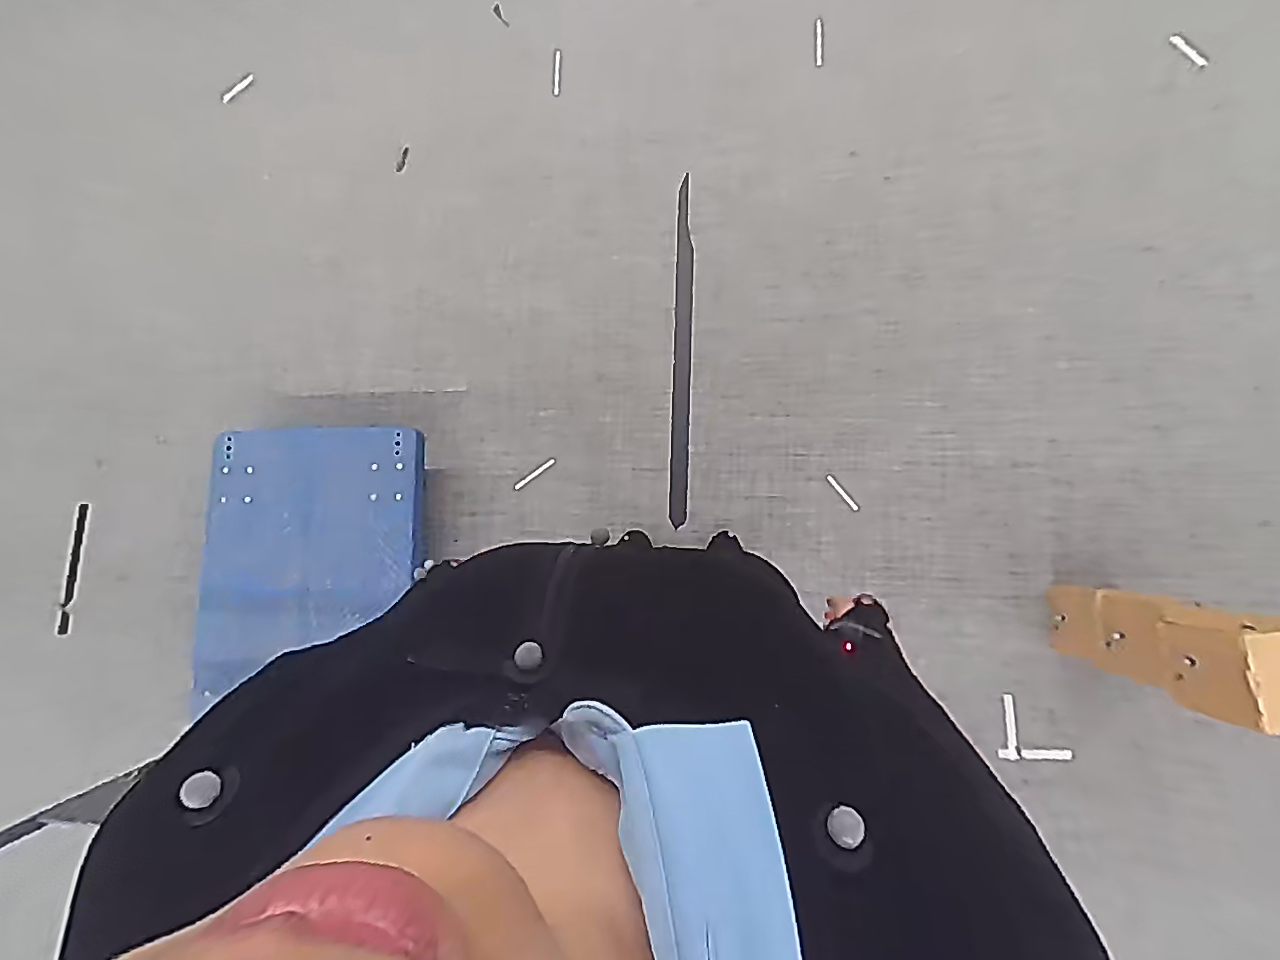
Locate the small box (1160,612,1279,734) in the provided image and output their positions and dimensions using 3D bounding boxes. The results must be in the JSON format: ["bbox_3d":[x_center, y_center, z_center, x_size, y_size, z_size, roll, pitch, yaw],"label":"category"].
[{"bbox_3d":[1.111,0.337,0.973,0.179,0.176,0.168,-7,83,5],"label":"small box"}]

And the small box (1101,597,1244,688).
[{"bbox_3d":[1.126,0.342,1.135,0.179,0.176,0.168,5,83,6],"label":"small box"}]
